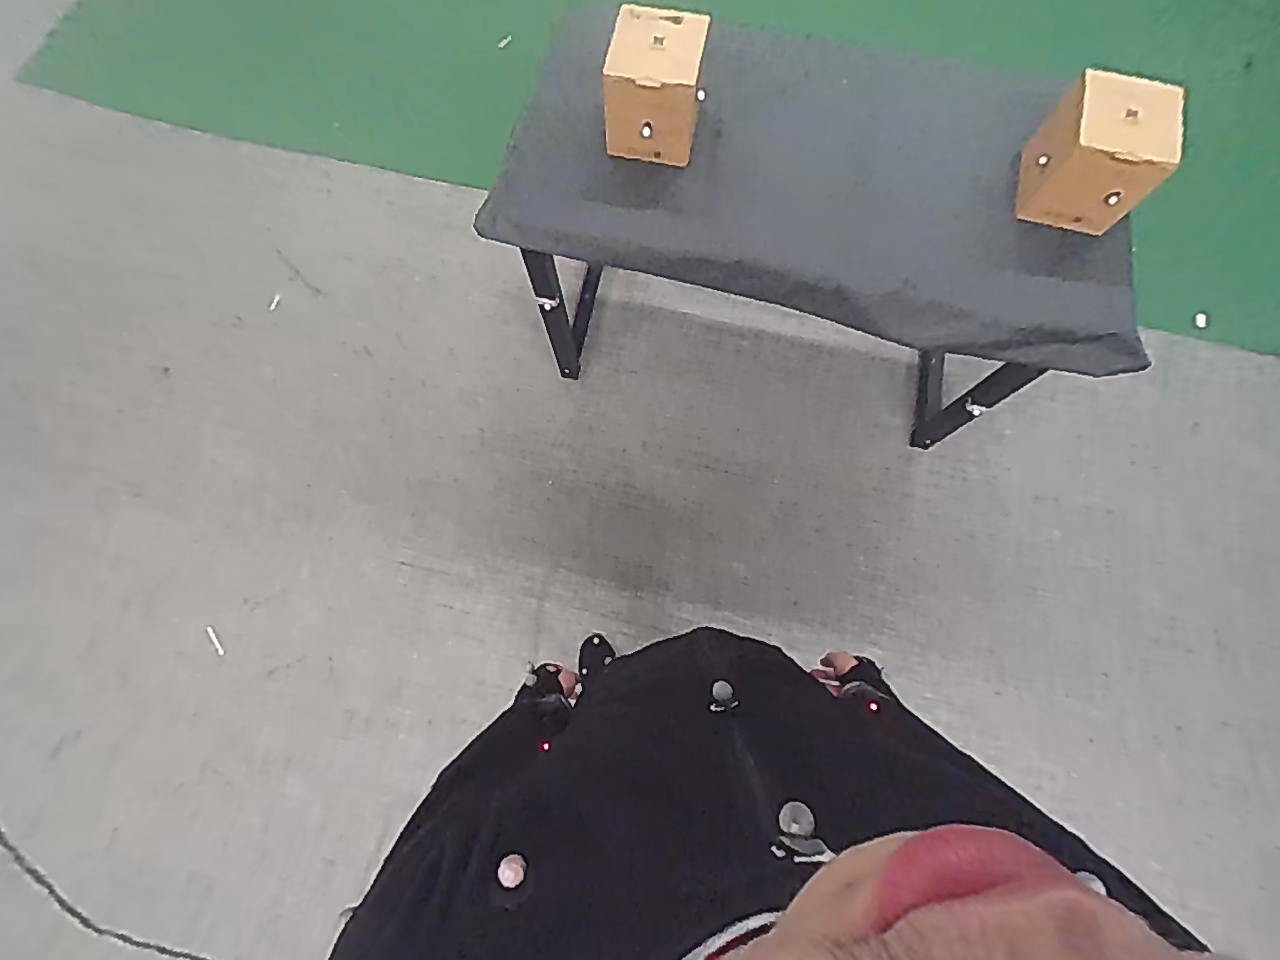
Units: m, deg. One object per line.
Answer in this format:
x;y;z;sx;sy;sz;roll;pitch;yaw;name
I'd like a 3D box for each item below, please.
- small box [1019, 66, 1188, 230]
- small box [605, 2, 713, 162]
0.827;-0.591;0.980;0.168;0.176;0.179;15;74;4;small box
0.036;-0.748;1.031;0.168;0.176;0.179;11;75;3;small box
